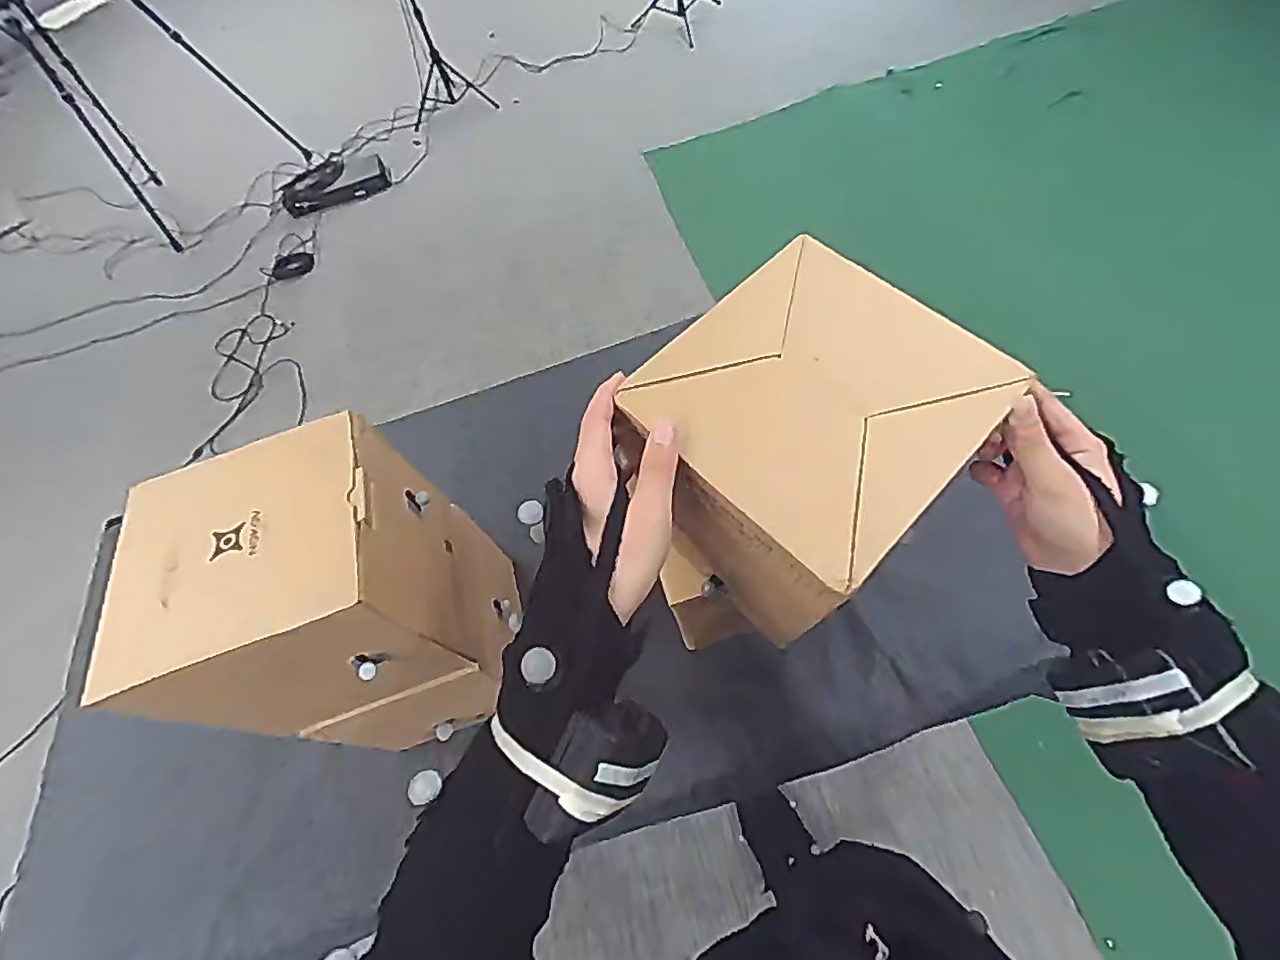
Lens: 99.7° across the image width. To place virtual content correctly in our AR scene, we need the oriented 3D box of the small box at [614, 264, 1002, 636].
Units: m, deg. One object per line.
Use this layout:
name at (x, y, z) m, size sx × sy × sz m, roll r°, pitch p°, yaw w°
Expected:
small box at (0.101, -0.020, 0.379) m, size 0.179 × 0.176 × 0.168 m, roll -42°, pitch 70°, yaw -16°

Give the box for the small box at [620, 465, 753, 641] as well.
small box at (0.094, 0.055, 0.580) m, size 0.179 × 0.176 × 0.168 m, roll -18°, pitch 58°, yaw -1°

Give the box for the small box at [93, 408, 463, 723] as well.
small box at (-0.259, 0.077, 0.436) m, size 0.179 × 0.176 × 0.168 m, roll -21°, pitch 58°, yaw -1°

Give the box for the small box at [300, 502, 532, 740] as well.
small box at (-0.229, 0.156, 0.575) m, size 0.168 × 0.176 × 0.179 m, roll -19°, pitch 59°, yaw -1°
